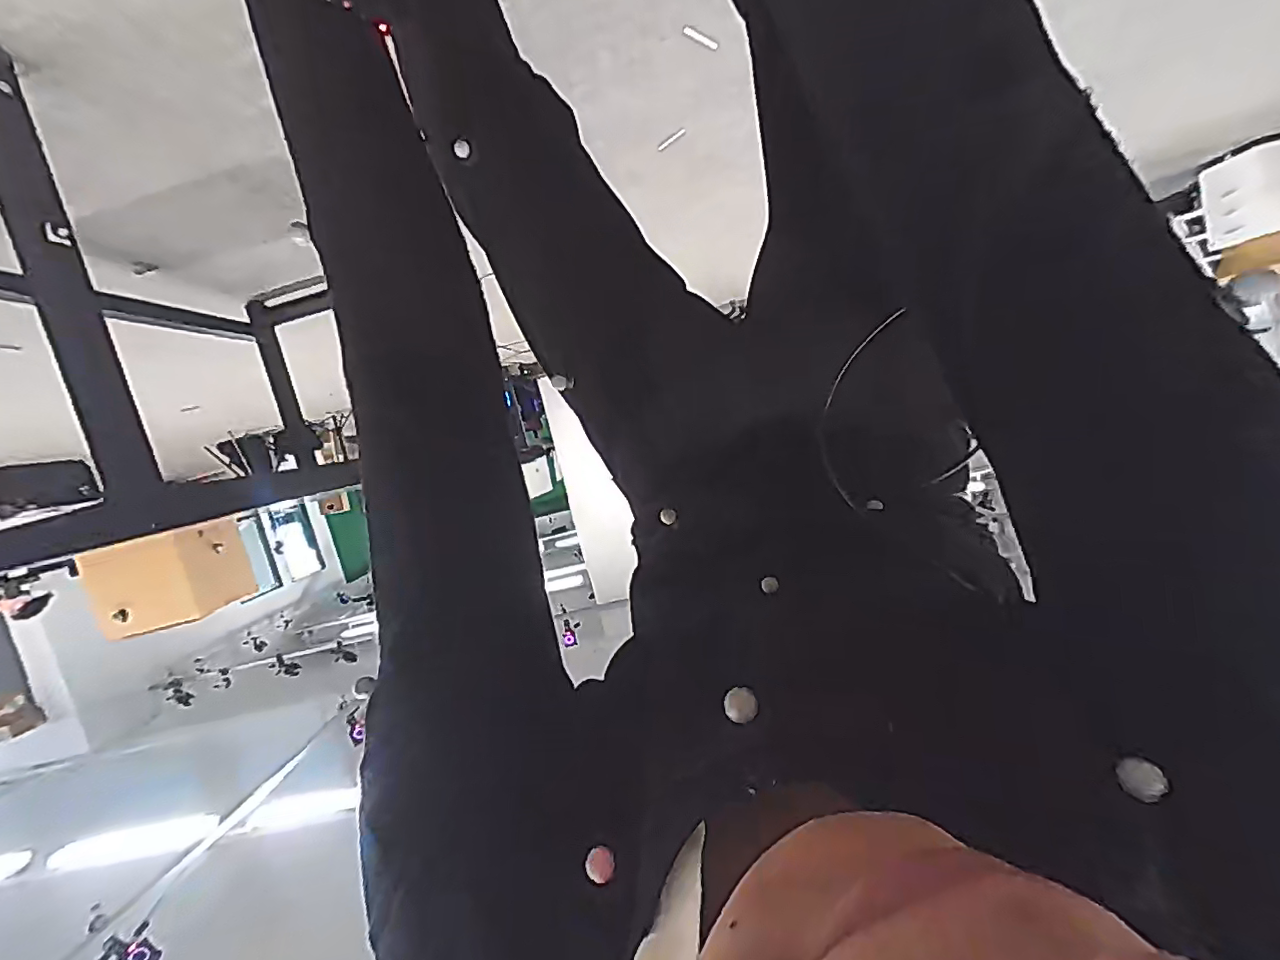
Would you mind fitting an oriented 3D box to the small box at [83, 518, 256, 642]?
[{"bbox_3d":[-0.883,0.178,1.021,0.179,0.176,0.168,-14,-173,-2],"label":"small box"}]
